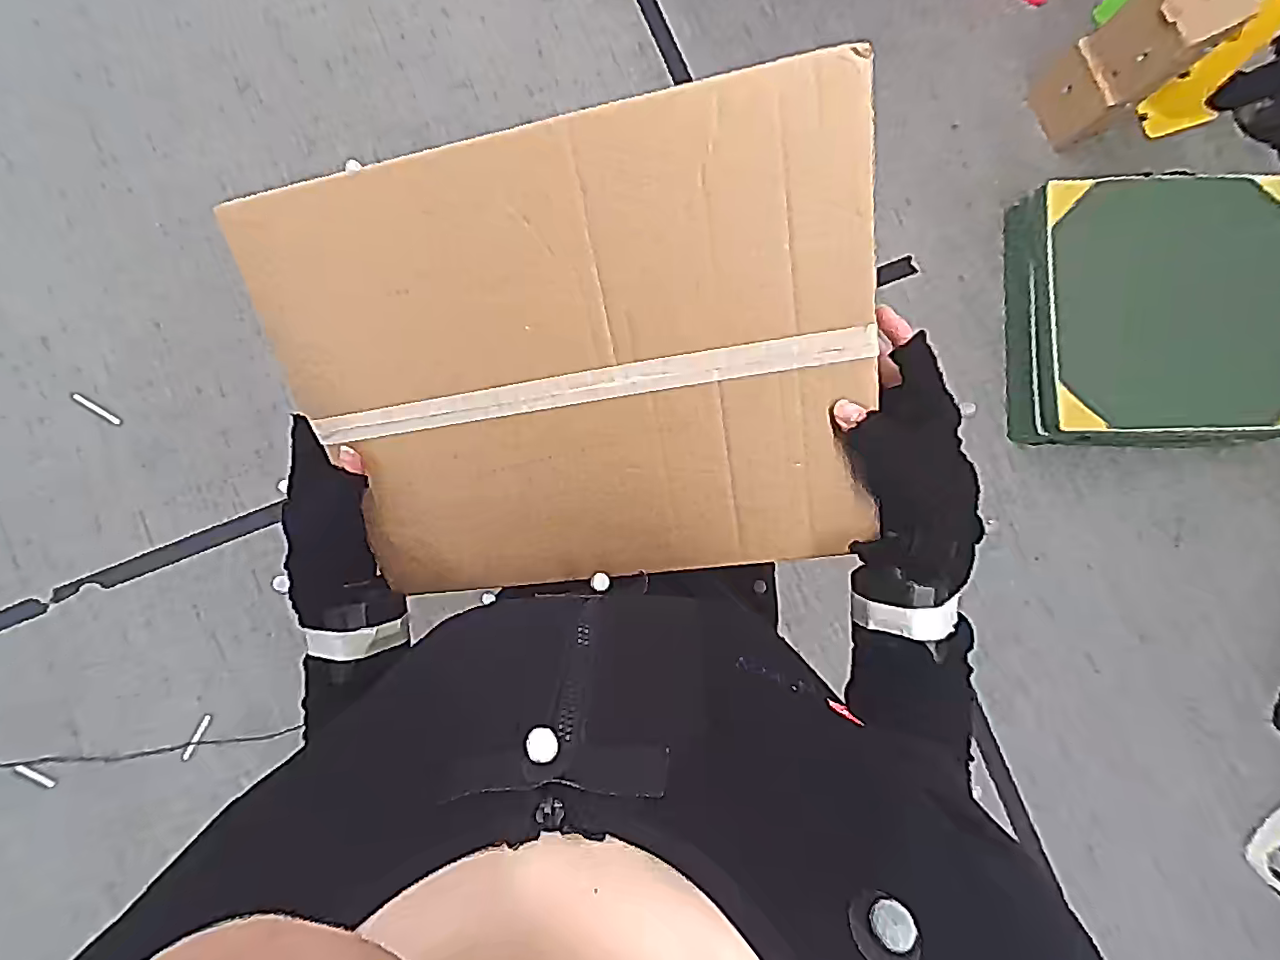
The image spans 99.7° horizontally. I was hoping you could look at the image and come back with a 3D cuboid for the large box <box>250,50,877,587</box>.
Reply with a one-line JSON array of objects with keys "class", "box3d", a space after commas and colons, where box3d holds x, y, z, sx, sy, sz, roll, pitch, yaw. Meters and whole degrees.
[{"class": "large box", "box3d": [-0.028, -0.129, 0.518, 0.408, 0.320, 0.320, -7, 115, 11]}]
